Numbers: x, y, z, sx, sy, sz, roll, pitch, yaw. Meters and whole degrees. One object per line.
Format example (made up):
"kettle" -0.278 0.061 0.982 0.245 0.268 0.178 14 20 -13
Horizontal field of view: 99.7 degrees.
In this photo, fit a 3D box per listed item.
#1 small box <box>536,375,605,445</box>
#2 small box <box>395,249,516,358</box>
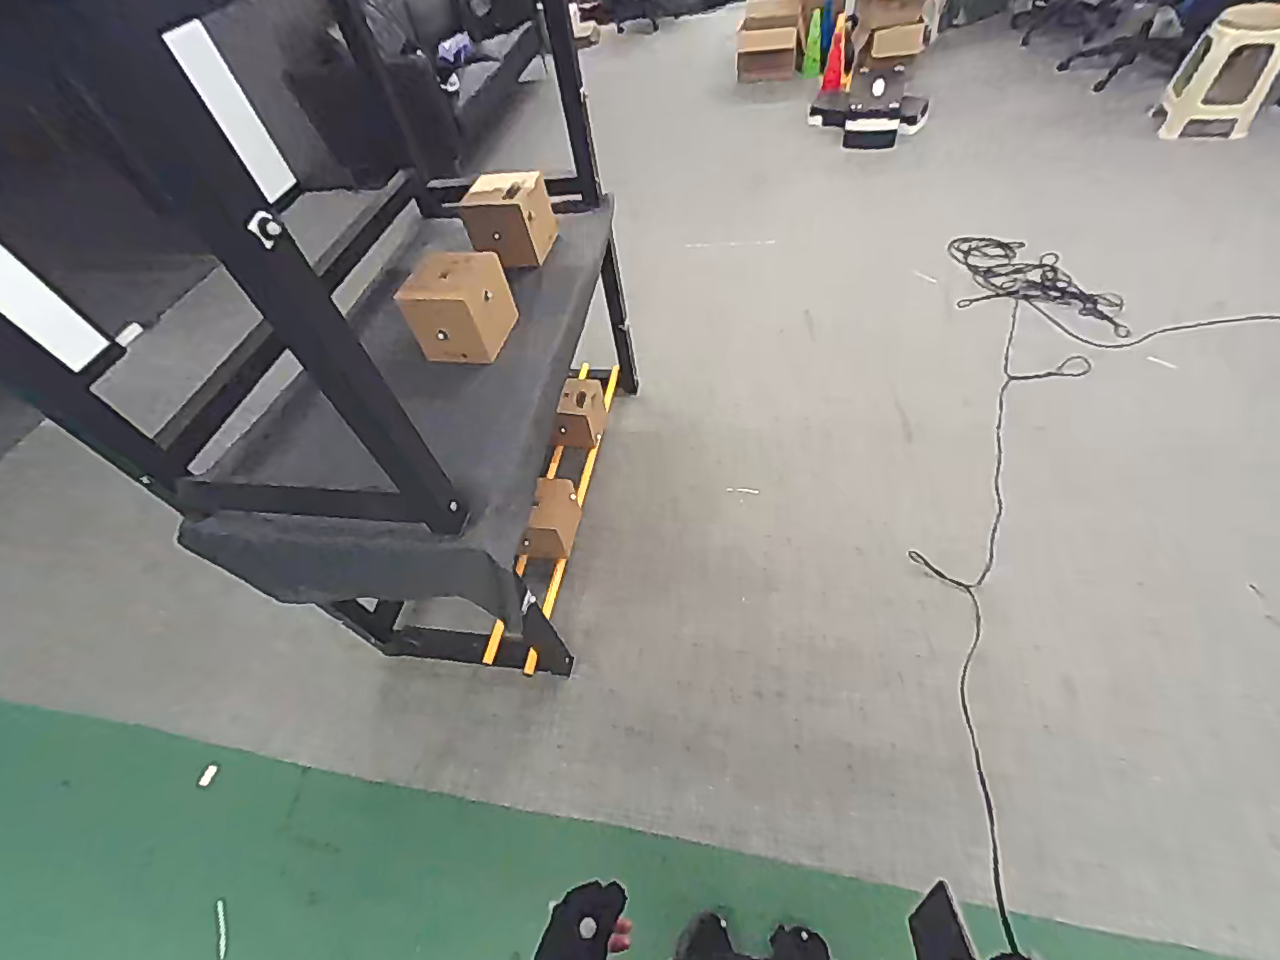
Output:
"small box" -0.228 -0.236 1.846 0.179 0.176 0.168 6 54 13
"small box" -0.395 -0.388 1.197 0.168 0.176 0.179 6 54 13
